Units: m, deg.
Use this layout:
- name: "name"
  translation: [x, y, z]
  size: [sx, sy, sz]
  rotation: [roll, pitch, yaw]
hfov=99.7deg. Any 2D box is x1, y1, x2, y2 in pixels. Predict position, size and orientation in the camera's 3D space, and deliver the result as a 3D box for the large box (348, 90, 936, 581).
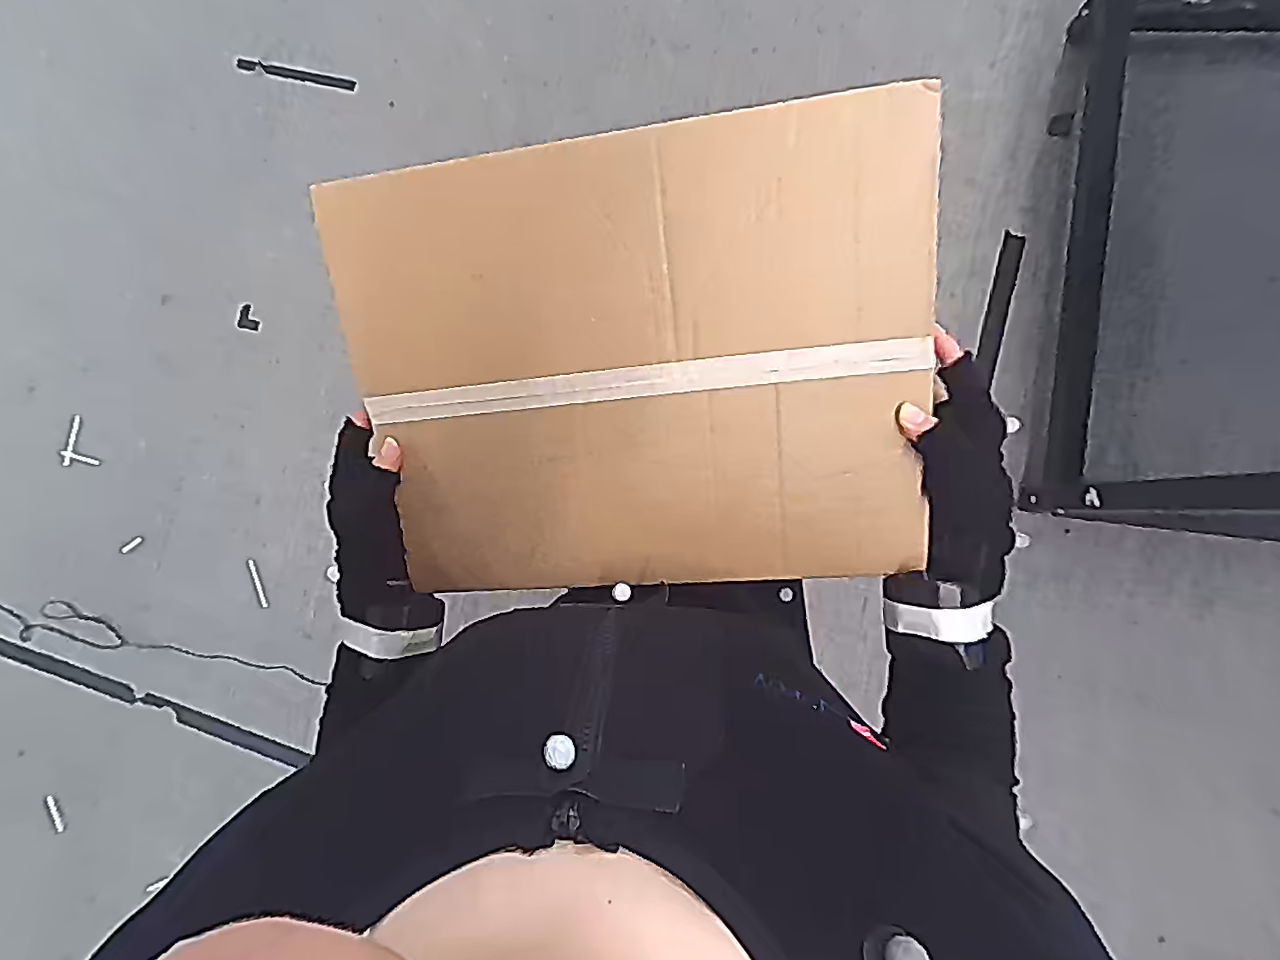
- name: "large box"
  translation: [0.018, -0.116, 0.537]
  size: [0.408, 0.320, 0.320]
  rotation: [-4, 107, 9]
